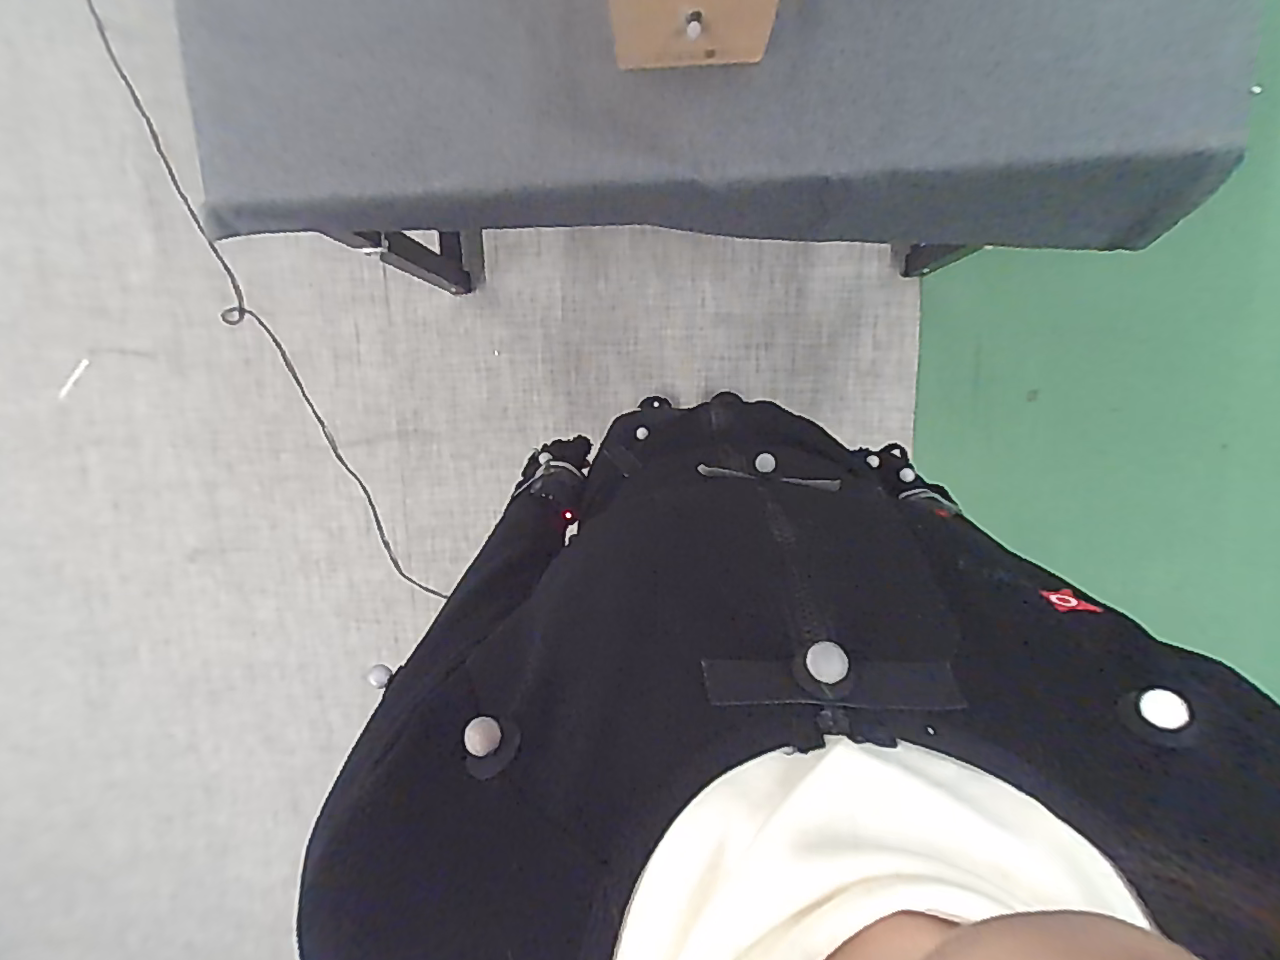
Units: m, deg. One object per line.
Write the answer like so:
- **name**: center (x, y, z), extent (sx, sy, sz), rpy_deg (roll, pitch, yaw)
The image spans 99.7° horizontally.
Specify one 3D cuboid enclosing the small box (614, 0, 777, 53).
- **small box**: center (0.054, -0.551, 0.523), extent (0.168, 0.176, 0.179), rpy_deg (-2, 100, 4)
